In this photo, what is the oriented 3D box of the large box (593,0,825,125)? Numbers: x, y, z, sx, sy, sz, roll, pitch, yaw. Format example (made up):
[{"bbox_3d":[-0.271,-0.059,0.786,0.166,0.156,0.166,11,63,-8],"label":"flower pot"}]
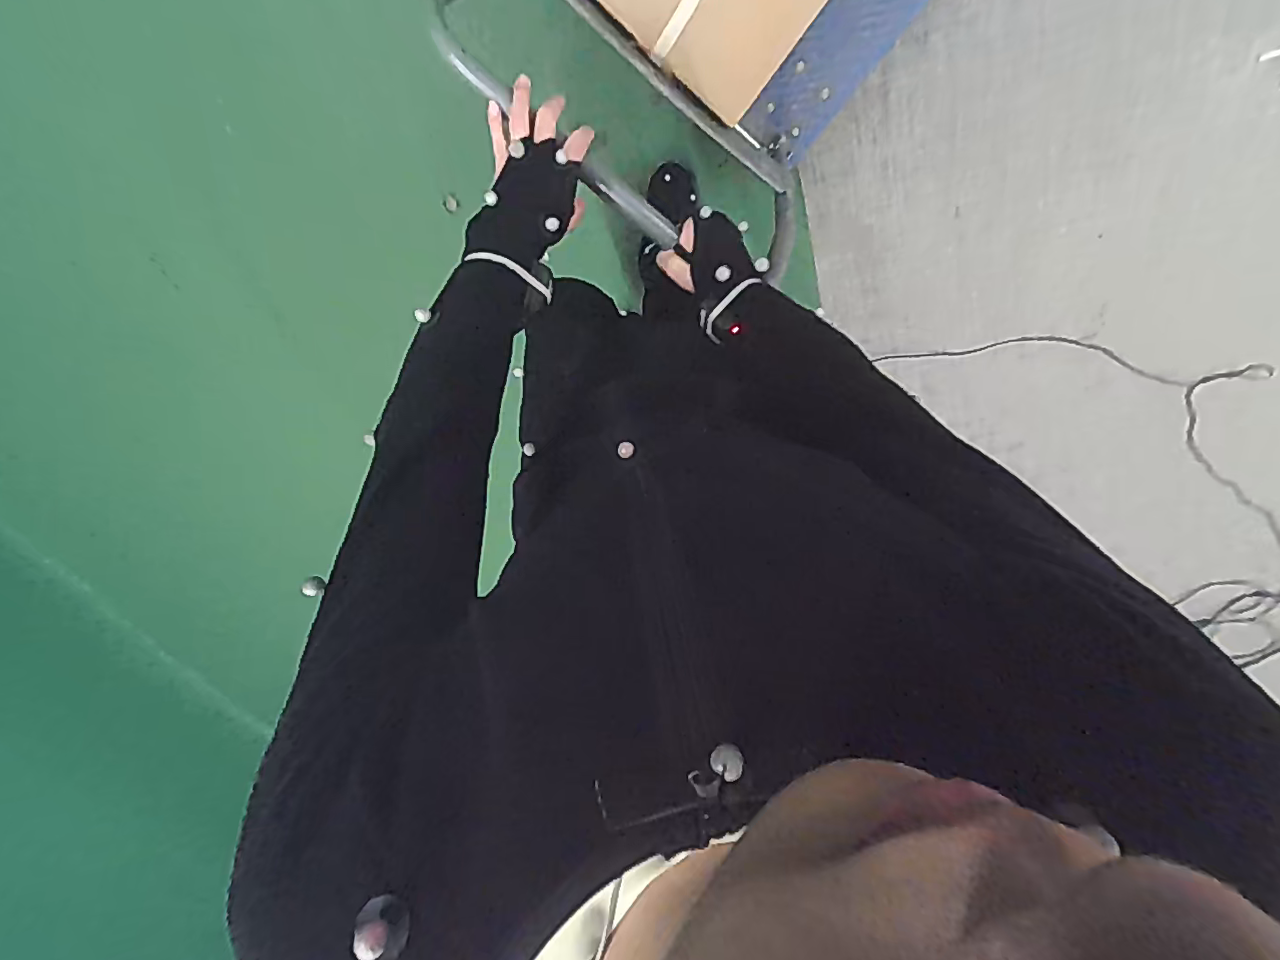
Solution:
[{"bbox_3d":[0.160,-0.852,0.835,0.320,0.320,0.408,34,126,-17],"label":"large box"}]
